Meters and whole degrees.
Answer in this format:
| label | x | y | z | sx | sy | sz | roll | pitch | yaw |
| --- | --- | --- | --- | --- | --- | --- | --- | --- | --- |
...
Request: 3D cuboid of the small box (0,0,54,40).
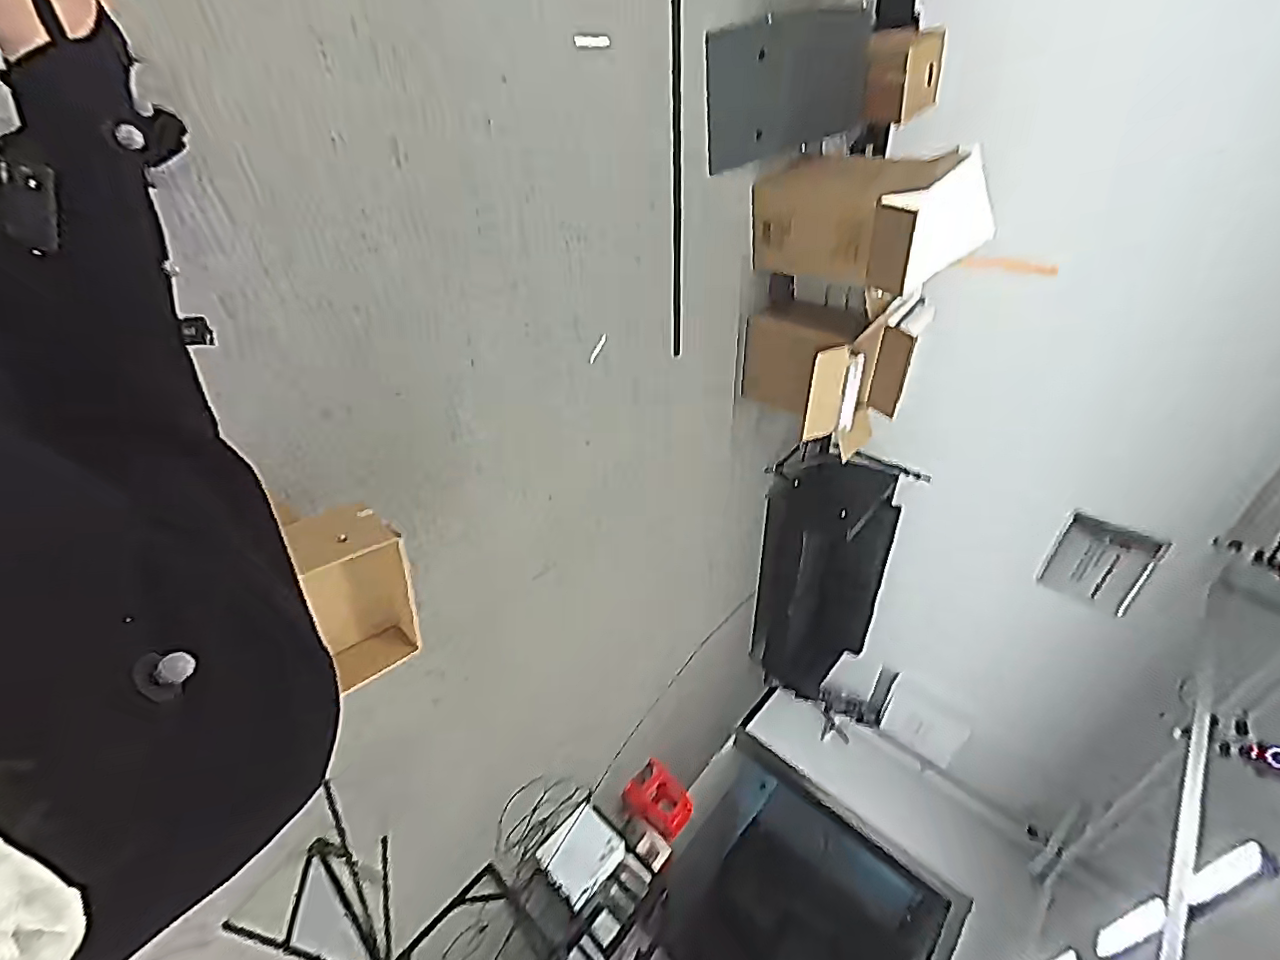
| label | x | y | z | sx | sy | sz | roll | pitch | yaw |
| --- | --- | --- | --- | --- | --- | --- | --- | --- | --- |
| small box | -0.528 | -0.444 | 0.362 | 0.168 | 0.176 | 0.179 | -8 | 116 | -47 |
